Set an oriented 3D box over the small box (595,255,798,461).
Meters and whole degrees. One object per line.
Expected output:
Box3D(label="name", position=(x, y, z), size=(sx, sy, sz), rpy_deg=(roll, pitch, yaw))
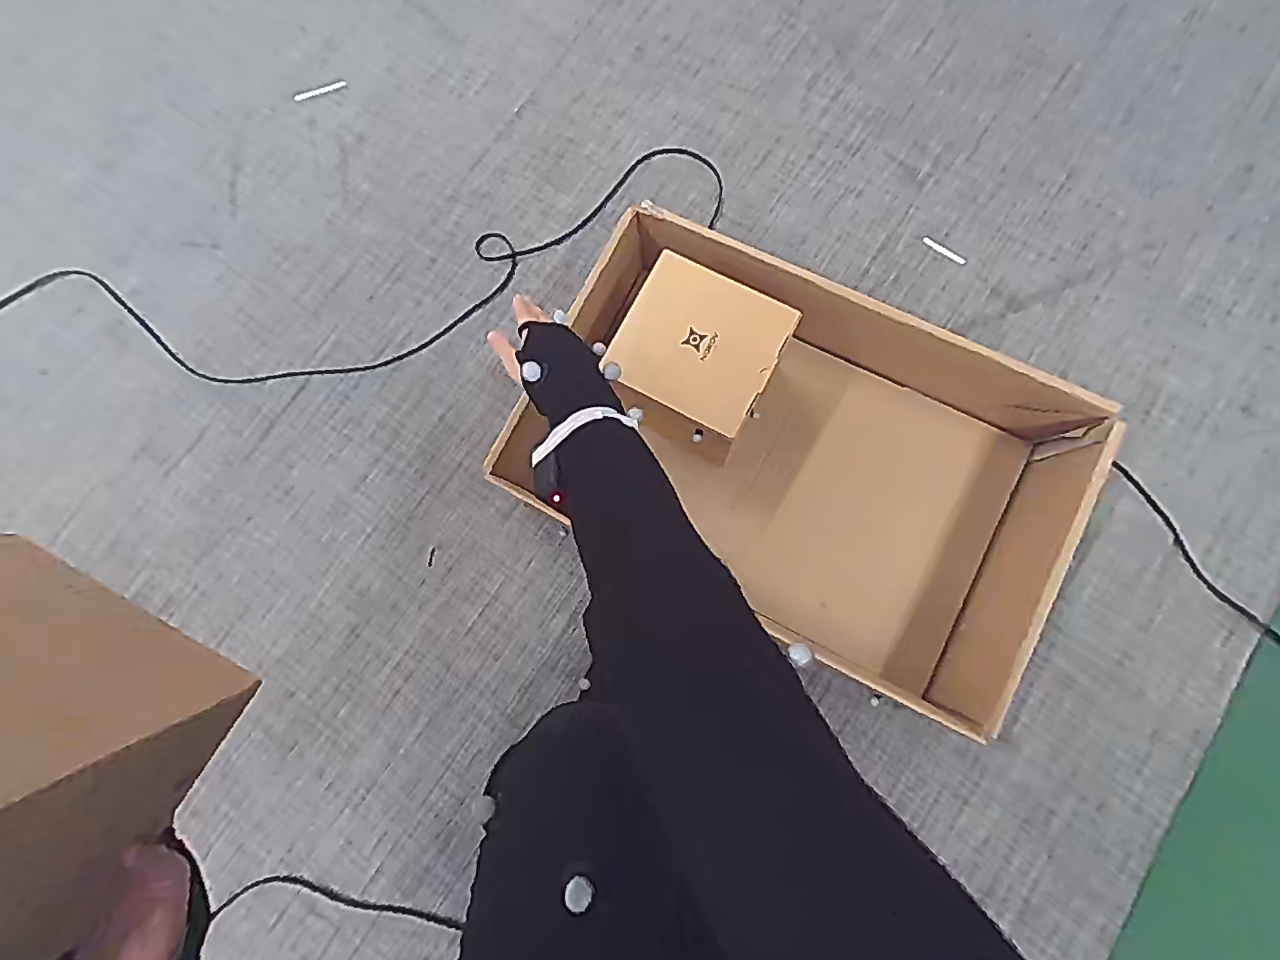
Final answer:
Box3D(label="small box", position=(0.067, -0.138, 0.680), size=(0.179, 0.176, 0.168), rpy_deg=(28, 85, 7))
